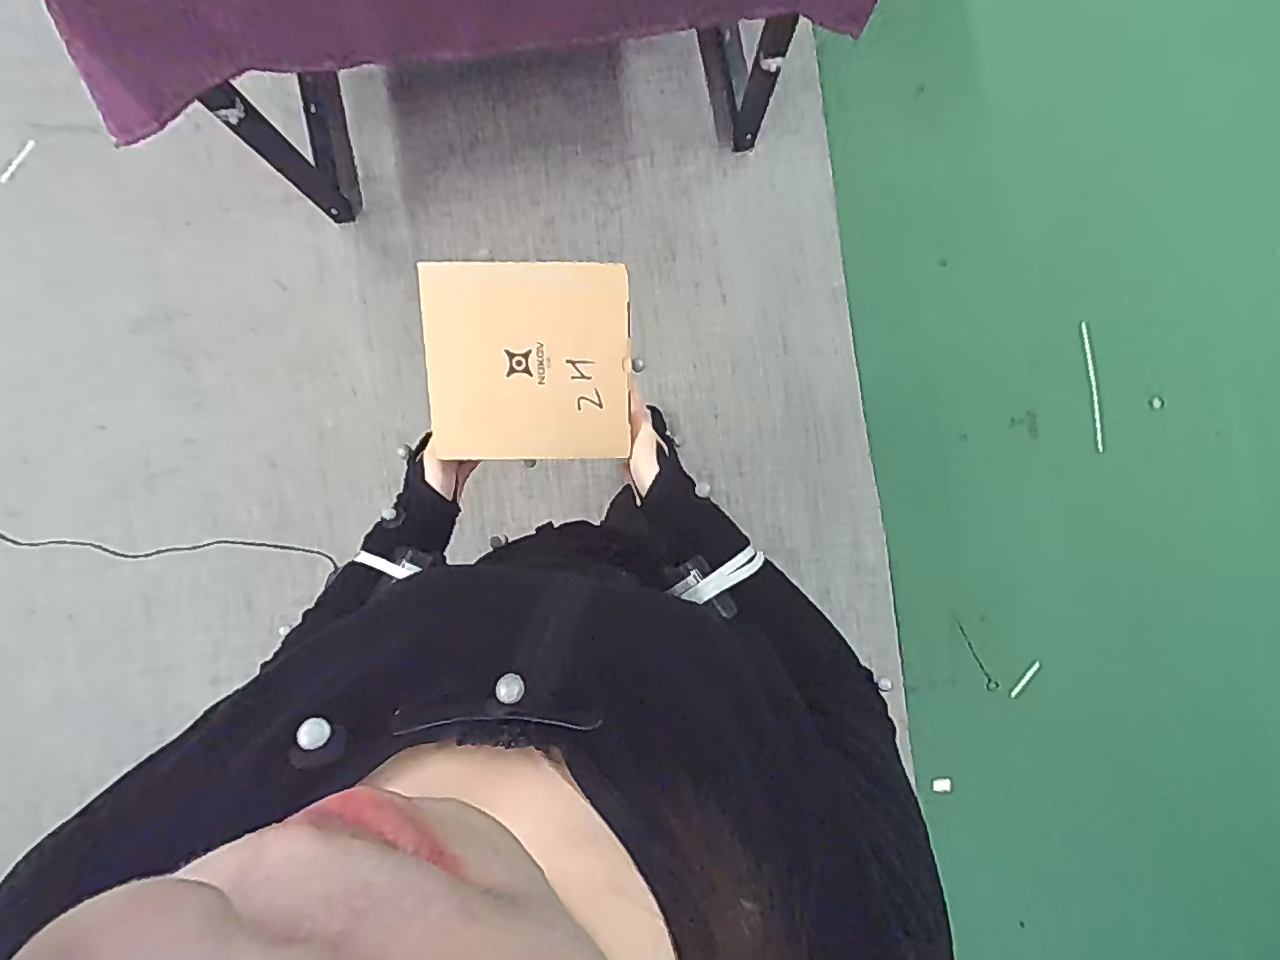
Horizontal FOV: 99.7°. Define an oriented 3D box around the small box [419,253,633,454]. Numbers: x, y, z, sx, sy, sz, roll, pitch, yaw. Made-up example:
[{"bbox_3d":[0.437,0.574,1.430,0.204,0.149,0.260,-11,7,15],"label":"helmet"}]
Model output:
[{"bbox_3d":[-0.096,-0.121,0.535,0.179,0.176,0.168,0,103,-2],"label":"small box"}]
